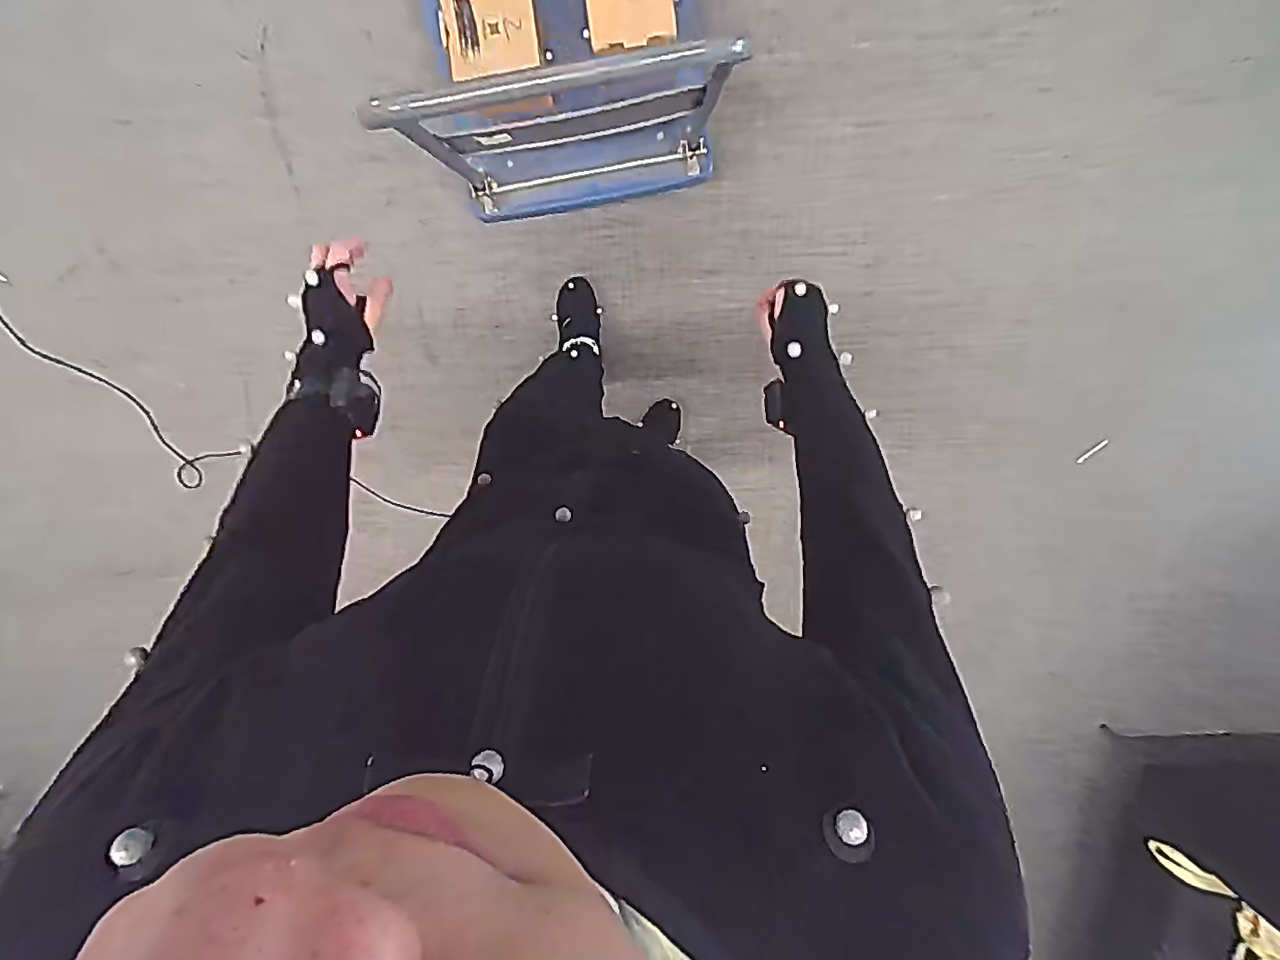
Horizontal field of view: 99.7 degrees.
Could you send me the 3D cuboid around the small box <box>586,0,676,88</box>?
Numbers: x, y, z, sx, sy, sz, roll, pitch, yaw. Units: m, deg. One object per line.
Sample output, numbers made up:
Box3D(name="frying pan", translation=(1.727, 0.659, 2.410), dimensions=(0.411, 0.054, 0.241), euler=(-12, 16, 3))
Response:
Box3D(name="small box", translation=(-0.023, -0.950, 1.110), dimensions=(0.168, 0.176, 0.179), euler=(-8, 106, 2))
